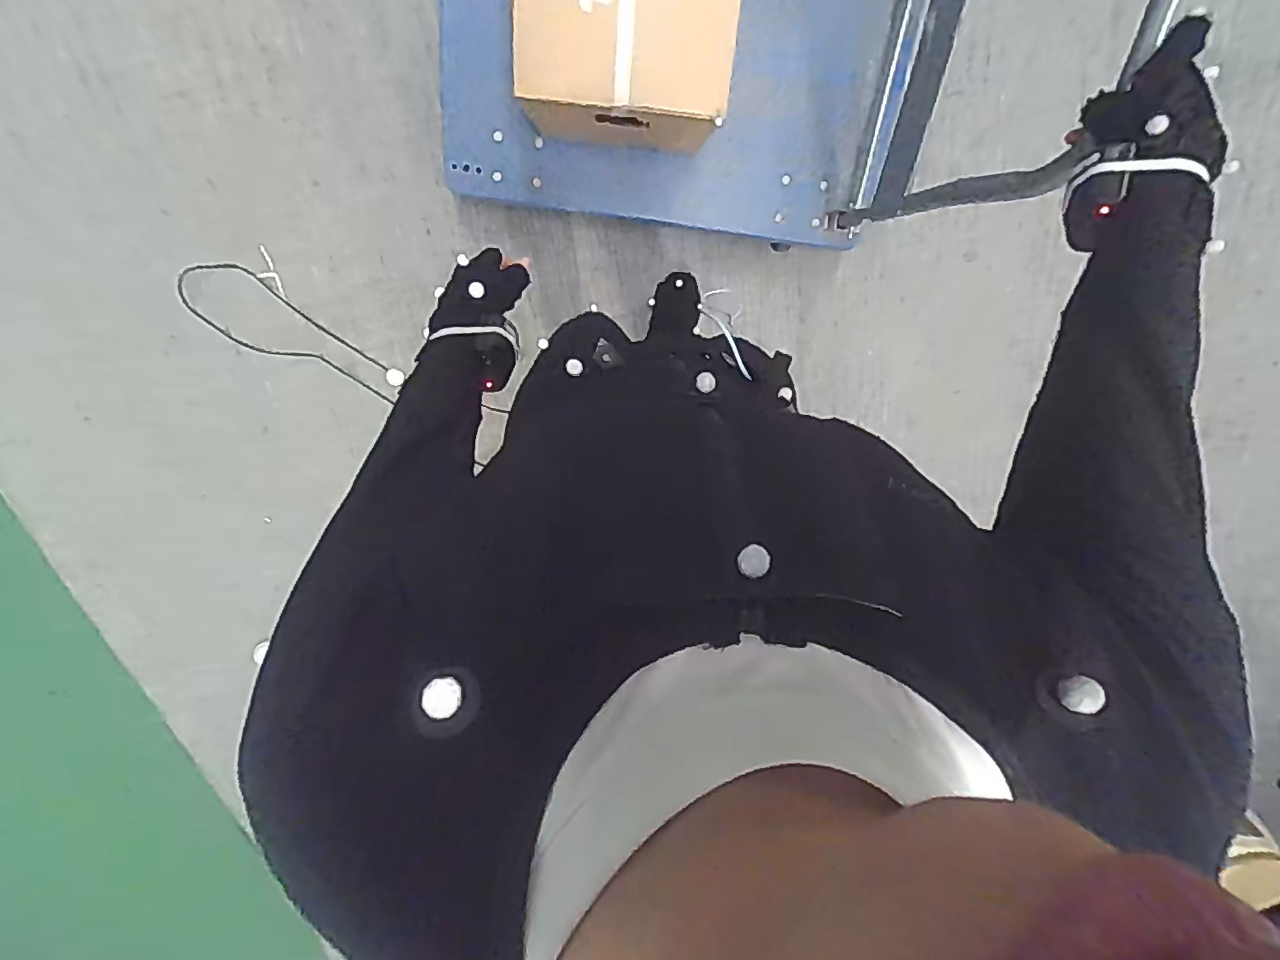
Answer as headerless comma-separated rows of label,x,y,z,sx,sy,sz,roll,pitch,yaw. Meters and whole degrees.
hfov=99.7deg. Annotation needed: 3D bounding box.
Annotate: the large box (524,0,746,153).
large box,-0.008,-0.784,0.860,0.320,0.320,0.408,3,113,-2
